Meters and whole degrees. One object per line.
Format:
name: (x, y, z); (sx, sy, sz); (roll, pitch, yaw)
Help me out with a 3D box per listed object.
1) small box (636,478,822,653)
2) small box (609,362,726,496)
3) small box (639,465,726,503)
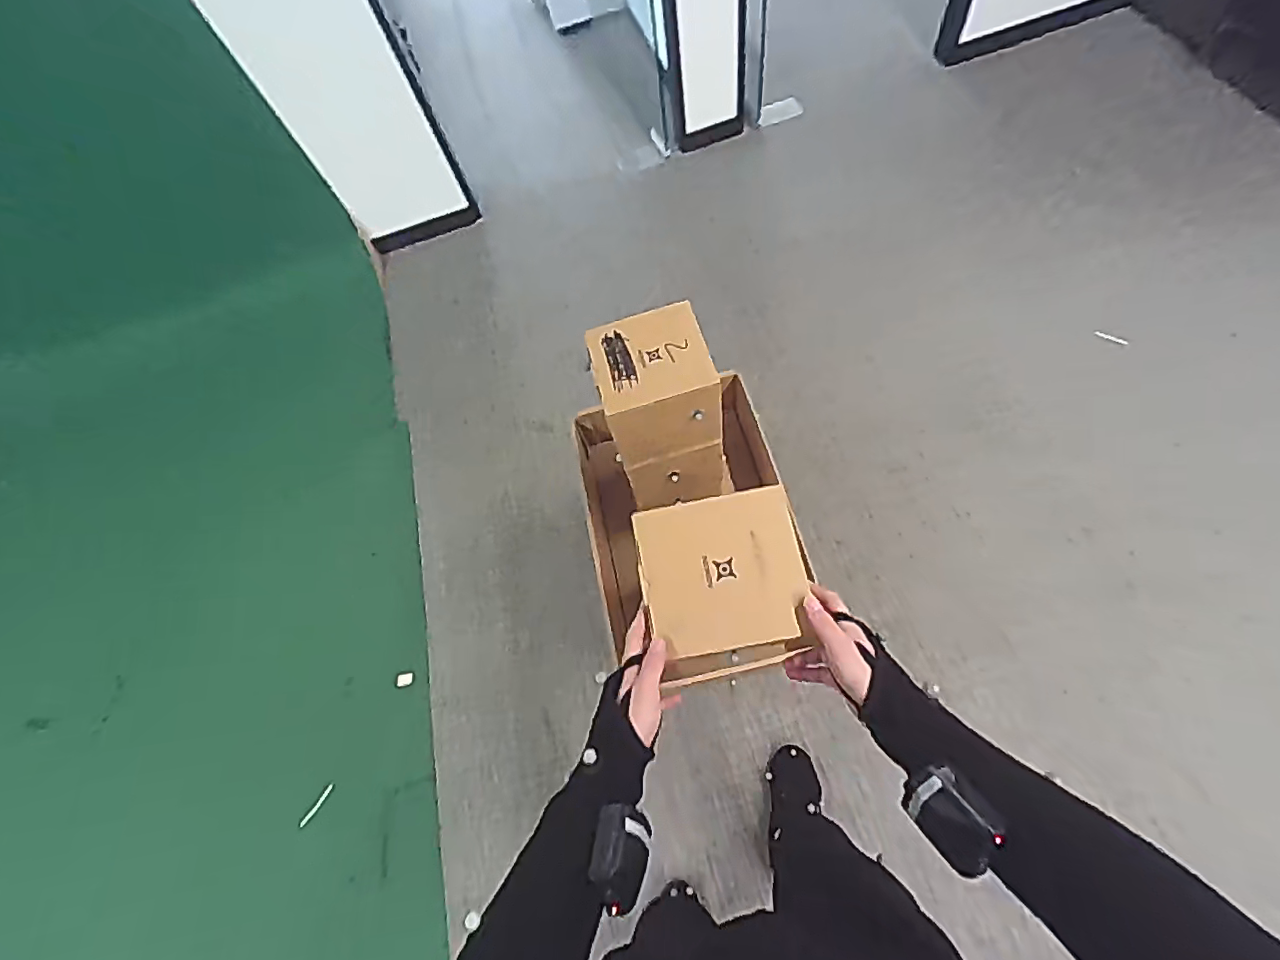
small box: (0.101, 0.114, 0.657); (0.179, 0.176, 0.168); (-11, 71, 4)
small box: (0.055, -0.089, 1.018); (0.179, 0.176, 0.168); (-16, 65, 3)
small box: (0.079, -0.026, 1.168); (0.179, 0.176, 0.168); (-14, 65, 3)
